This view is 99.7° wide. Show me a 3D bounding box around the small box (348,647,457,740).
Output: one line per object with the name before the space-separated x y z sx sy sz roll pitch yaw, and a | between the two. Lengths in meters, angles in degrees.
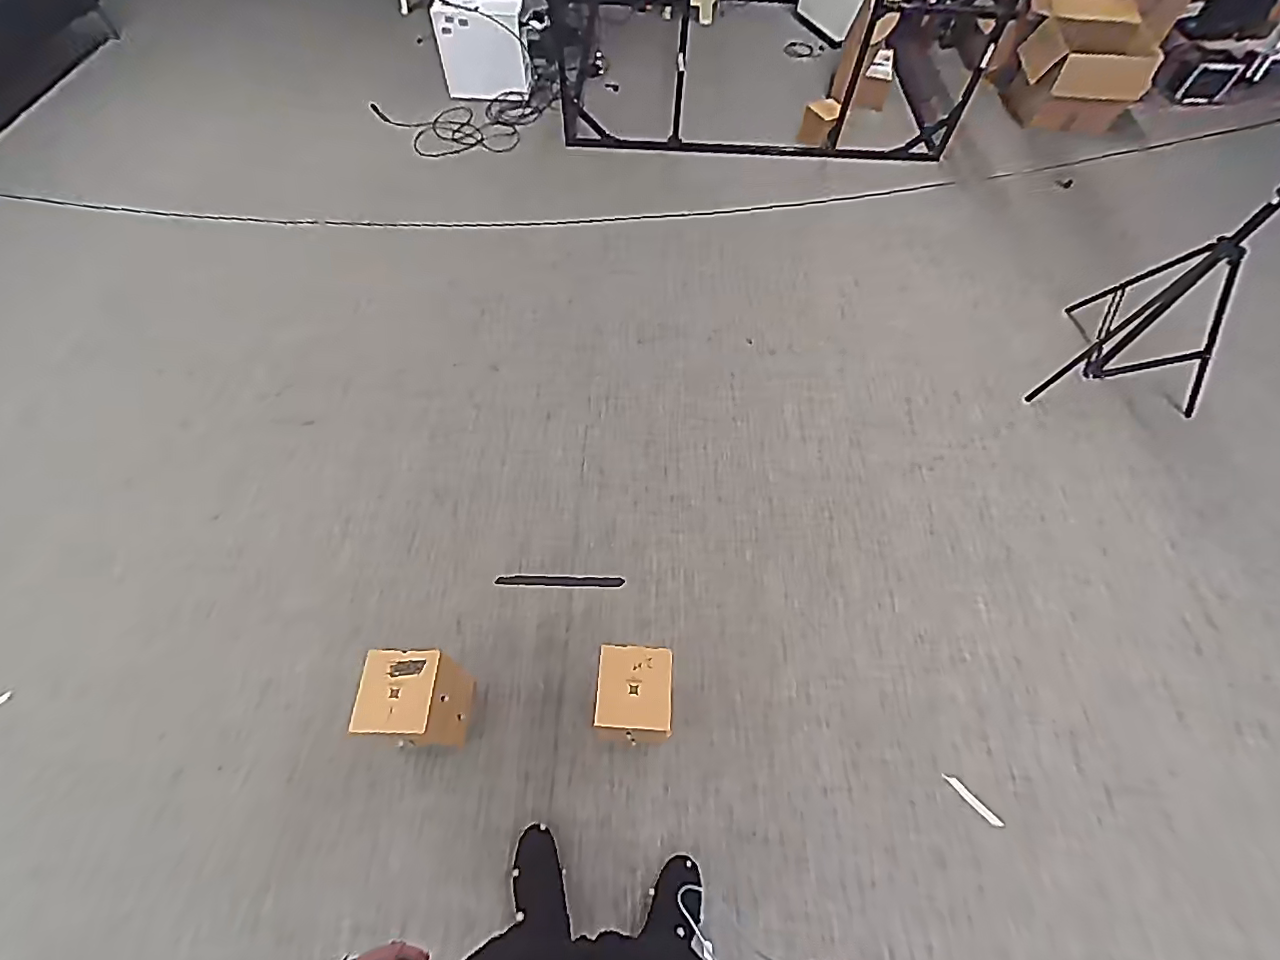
small box | -0.536 0.497 1.253 0.168 0.176 0.179 2 60 0

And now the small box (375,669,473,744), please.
small box | -0.545 0.583 1.393 0.179 0.176 0.168 1 60 0

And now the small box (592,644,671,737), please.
small box | -0.018 0.499 1.267 0.168 0.176 0.179 4 59 0
